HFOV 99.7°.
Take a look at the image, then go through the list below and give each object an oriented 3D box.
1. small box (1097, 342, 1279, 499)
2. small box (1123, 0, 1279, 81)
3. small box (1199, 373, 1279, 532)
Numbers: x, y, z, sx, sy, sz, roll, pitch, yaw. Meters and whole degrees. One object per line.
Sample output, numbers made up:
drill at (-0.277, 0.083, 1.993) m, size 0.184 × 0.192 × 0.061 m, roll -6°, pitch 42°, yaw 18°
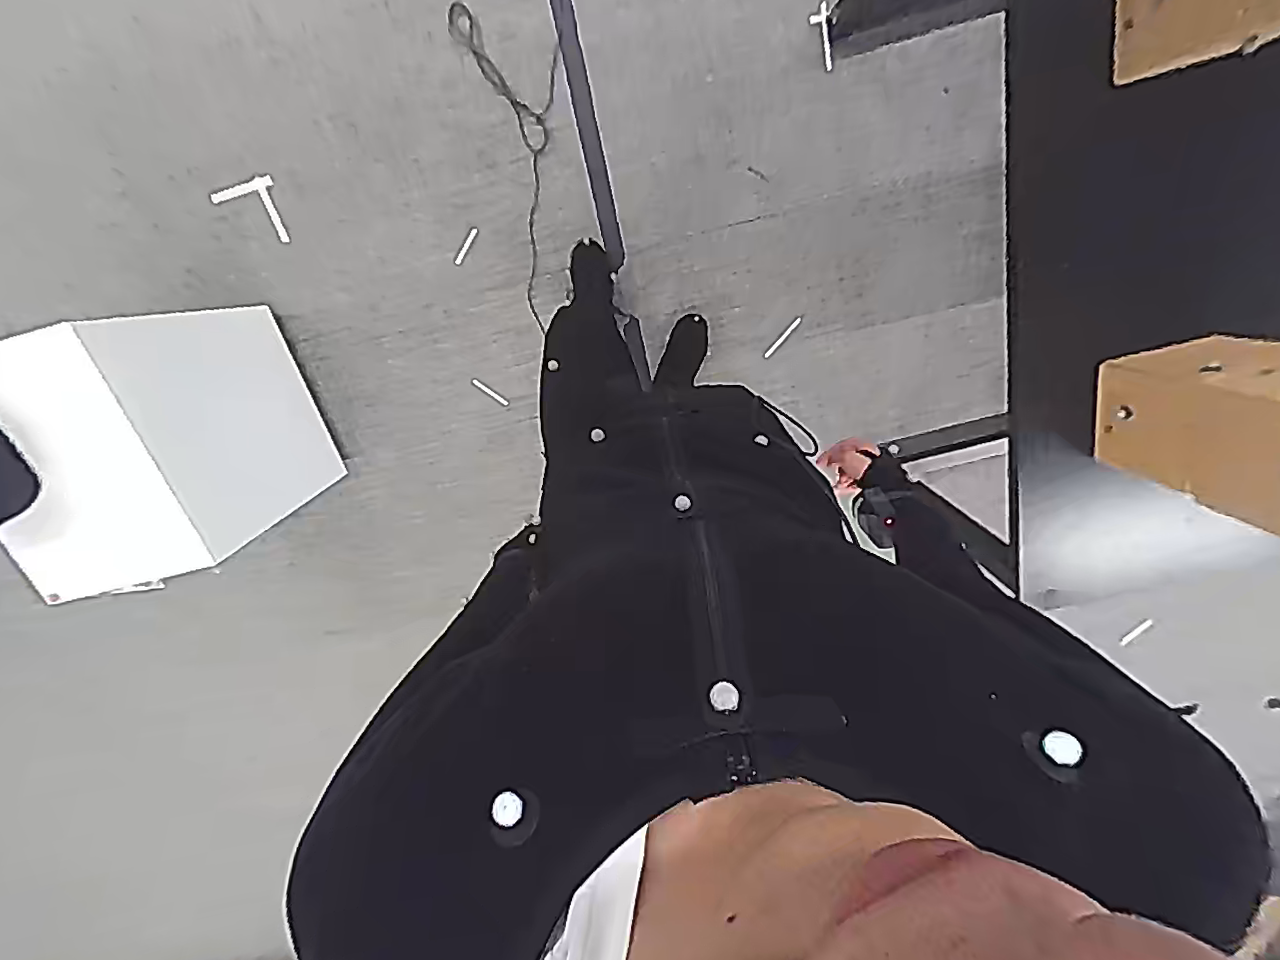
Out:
small box at (0.821, -0.094, 0.782) m, size 0.179 × 0.176 × 0.168 m, roll -13°, pitch 110°, yaw 5°
small box at (0.688, -0.580, 0.597) m, size 0.179 × 0.176 × 0.168 m, roll -14°, pitch 110°, yaw 6°
small box at (0.815, -0.034, 0.629) m, size 0.168 × 0.176 × 0.179 m, roll -16°, pitch 111°, yaw 6°
